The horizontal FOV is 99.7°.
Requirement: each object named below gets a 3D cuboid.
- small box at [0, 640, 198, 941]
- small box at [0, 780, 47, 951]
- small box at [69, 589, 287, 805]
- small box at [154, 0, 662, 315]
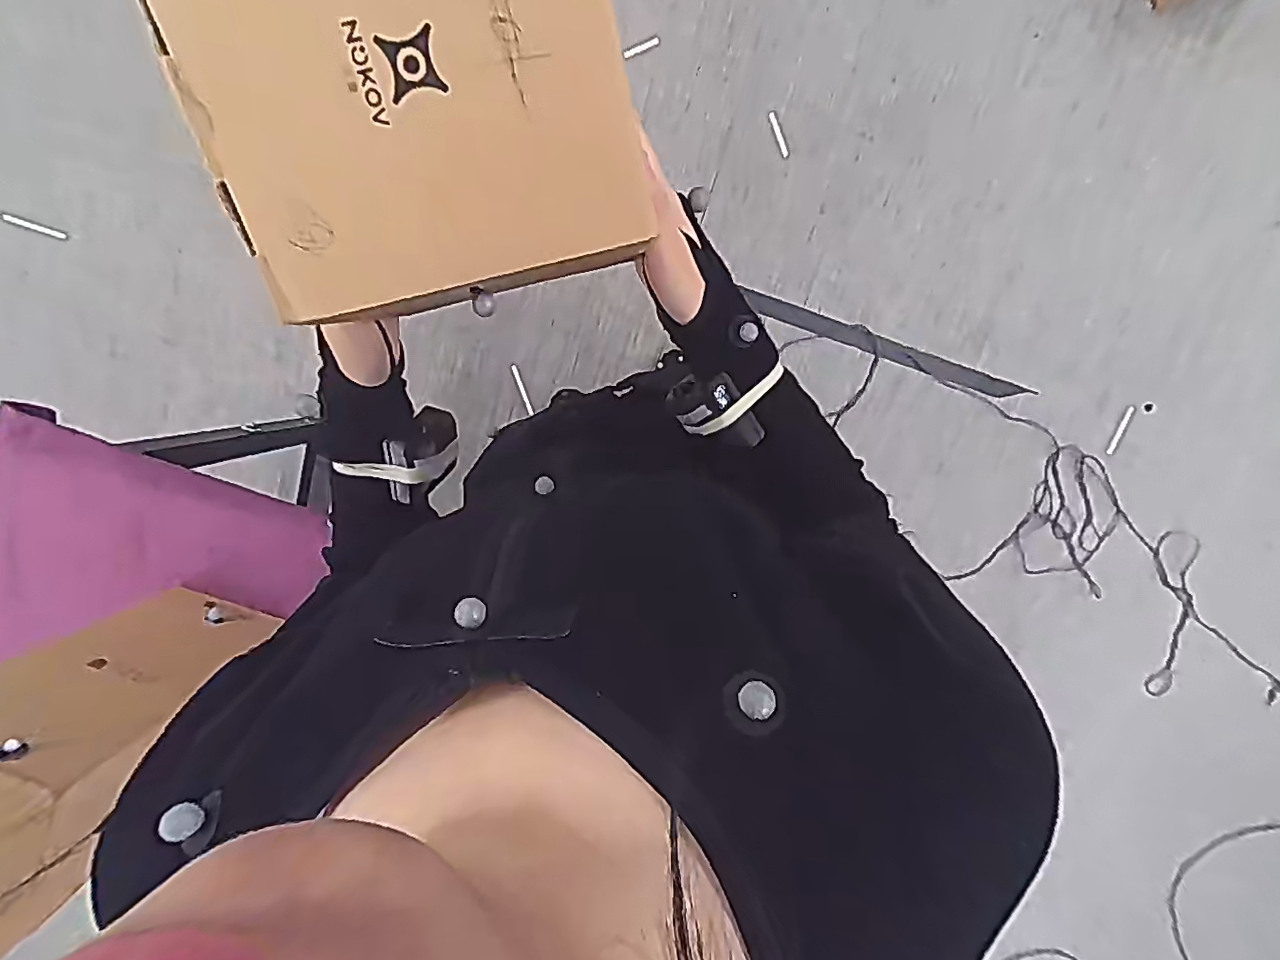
[{"bbox_3d":[-0.606,0.300,0.552,0.168,0.176,0.179,22,101,-5],"label":"small box"},{"bbox_3d":[-0.602,0.324,0.391,0.168,0.176,0.179,22,100,-5],"label":"small box"},{"bbox_3d":[-0.609,0.273,0.714,0.168,0.176,0.179,20,100,-5],"label":"small box"},{"bbox_3d":[-0.095,-0.191,0.289,0.179,0.176,0.168,-14,110,0],"label":"small box"}]
